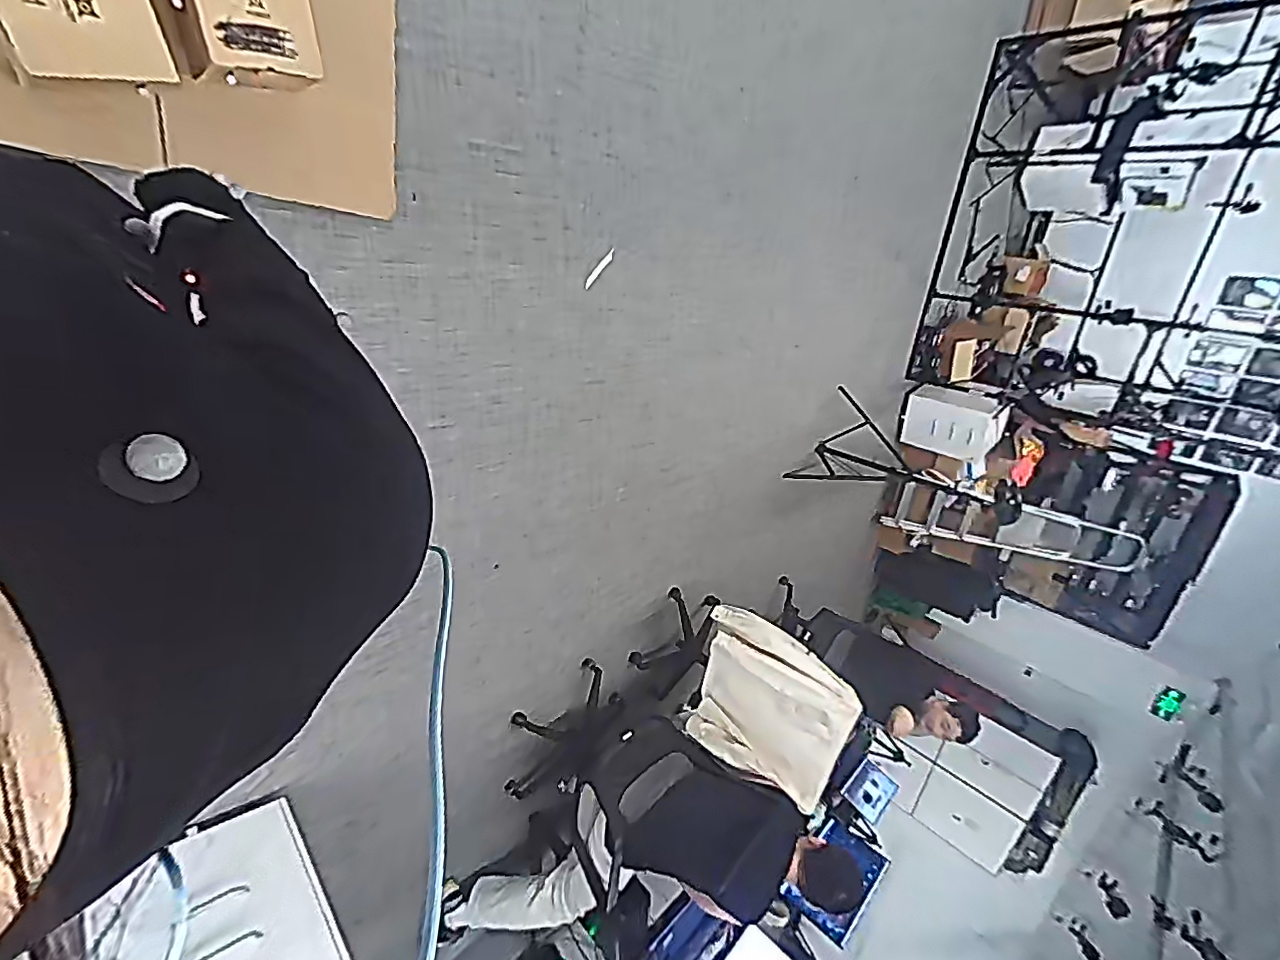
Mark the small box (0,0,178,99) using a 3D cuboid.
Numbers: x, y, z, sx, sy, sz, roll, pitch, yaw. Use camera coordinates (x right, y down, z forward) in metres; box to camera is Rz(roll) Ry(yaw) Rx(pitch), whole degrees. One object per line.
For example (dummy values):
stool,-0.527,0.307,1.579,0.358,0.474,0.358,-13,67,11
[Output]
small box,-0.827,-0.666,0.786,0.179,0.176,0.168,-28,128,-37
